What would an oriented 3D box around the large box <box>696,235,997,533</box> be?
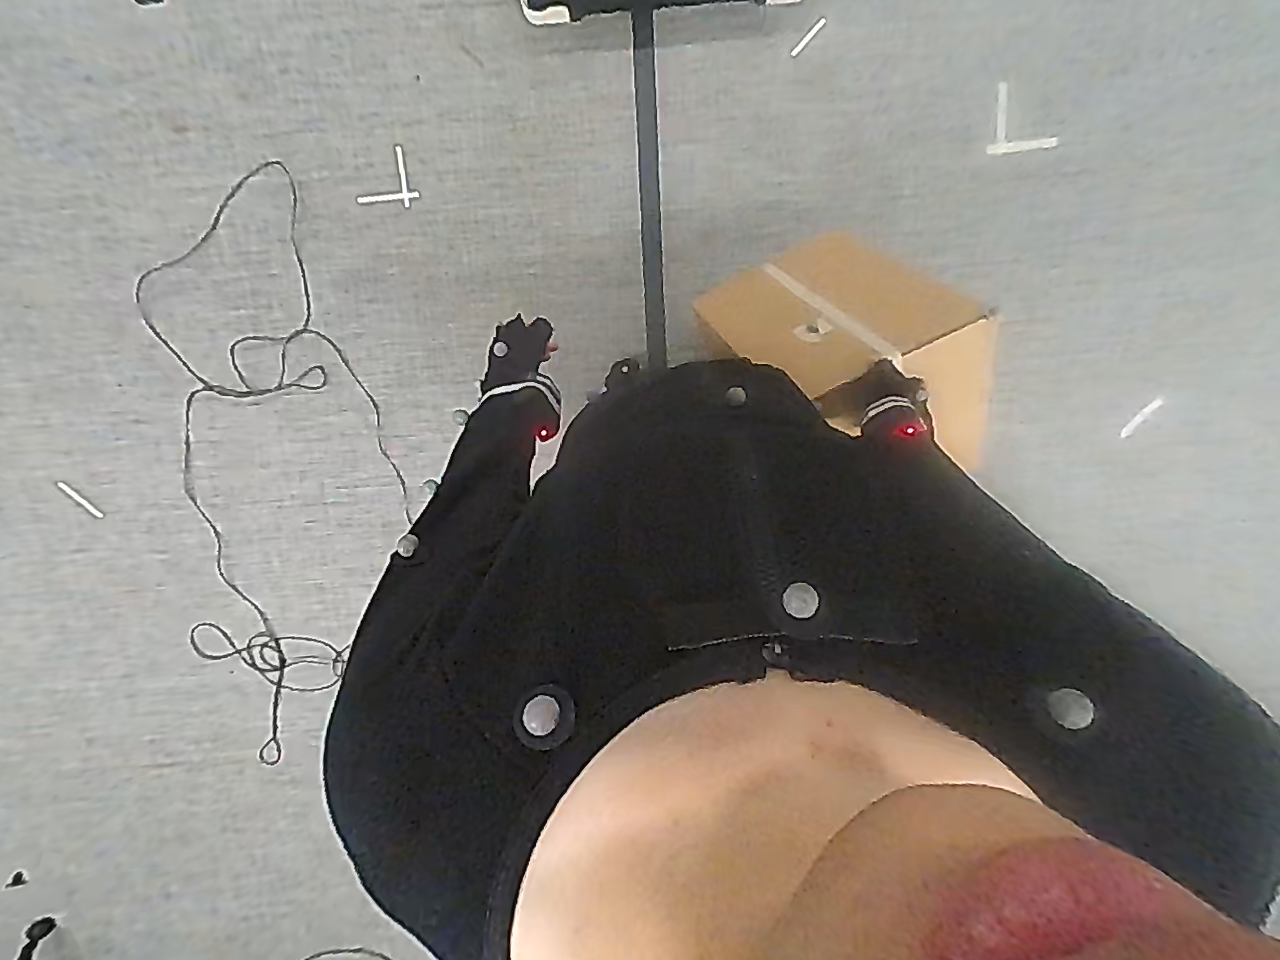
[{"bbox_3d":[0.344,-0.185,0.987,0.320,0.408,0.320,-26,132,2],"label":"large box"}]
